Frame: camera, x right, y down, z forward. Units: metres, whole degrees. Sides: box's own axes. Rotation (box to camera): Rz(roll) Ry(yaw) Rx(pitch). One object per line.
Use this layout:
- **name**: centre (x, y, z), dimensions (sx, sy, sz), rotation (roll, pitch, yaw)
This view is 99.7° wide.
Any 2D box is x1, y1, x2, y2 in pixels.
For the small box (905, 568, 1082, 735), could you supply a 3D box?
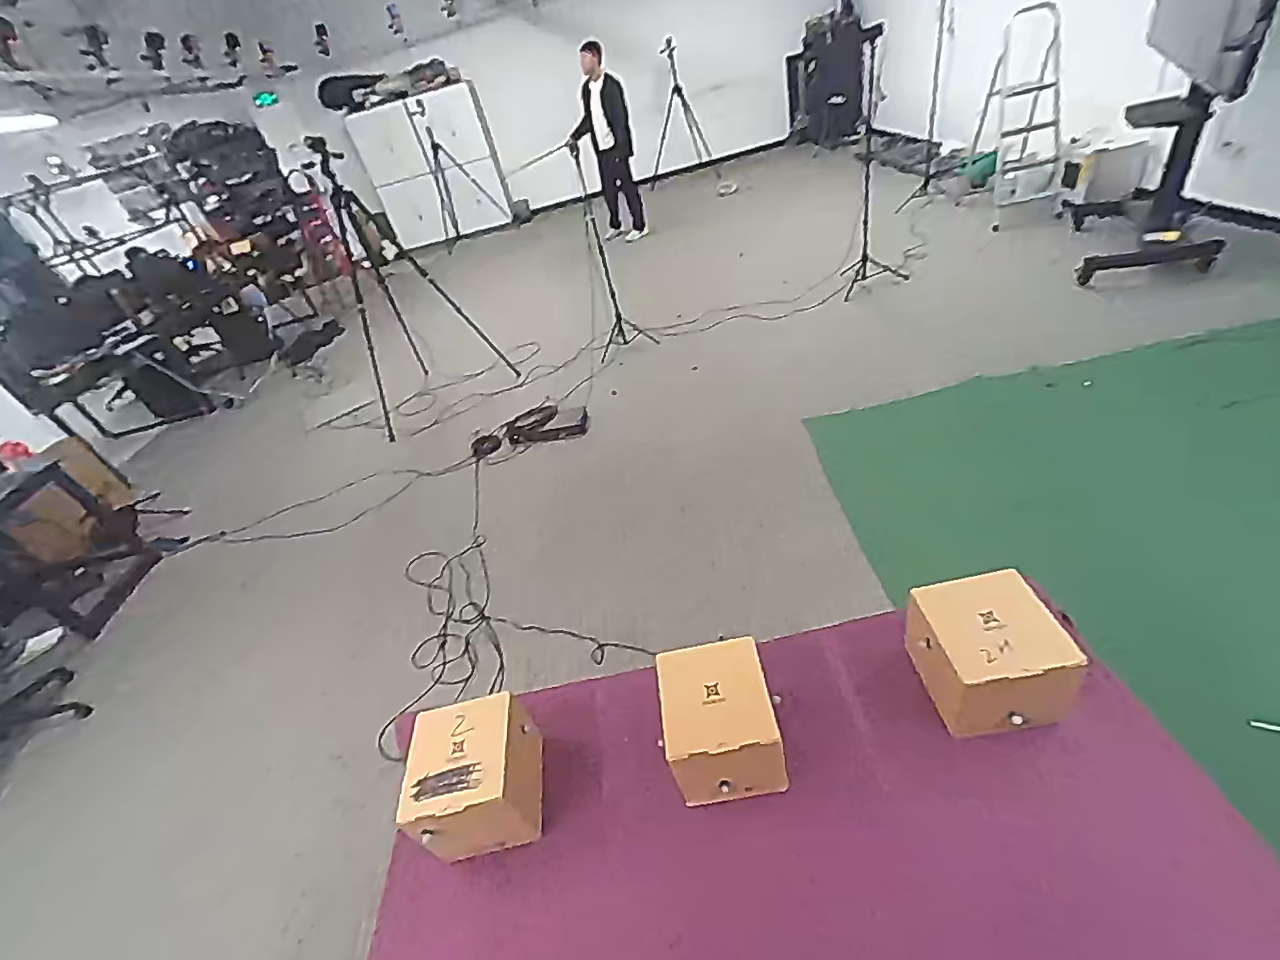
- **small box**: centre (0.538, 0.272, 0.858), dimensions (0.168, 0.176, 0.179), rotation (-14, 39, 7)

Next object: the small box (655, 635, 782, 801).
- **small box**: centre (0.125, 0.384, 0.874), dimensions (0.168, 0.176, 0.179), rotation (-12, 39, 4)
